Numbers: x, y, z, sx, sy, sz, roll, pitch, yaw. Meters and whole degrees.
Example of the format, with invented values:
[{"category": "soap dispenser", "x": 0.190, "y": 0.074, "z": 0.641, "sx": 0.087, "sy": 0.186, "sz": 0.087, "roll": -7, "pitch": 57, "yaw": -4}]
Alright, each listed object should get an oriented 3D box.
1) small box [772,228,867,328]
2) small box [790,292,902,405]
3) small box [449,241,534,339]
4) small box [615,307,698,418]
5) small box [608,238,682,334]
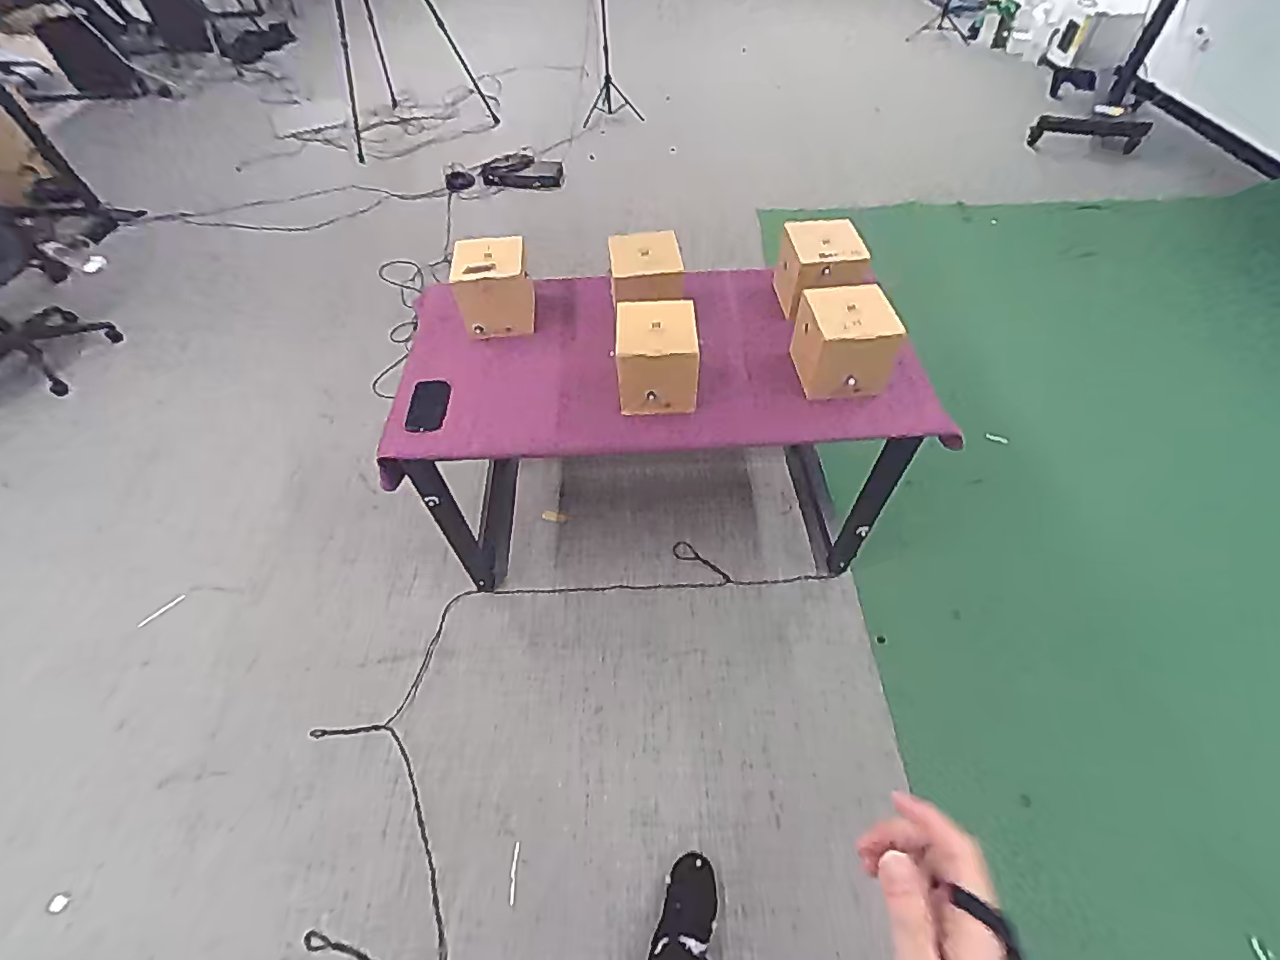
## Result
[{"category": "small box", "x": 0.439, "y": -0.503, "z": 1.352, "sx": 0.168, "sy": 0.176, "sz": 0.179, "roll": -4, "pitch": 52, "yaw": -1}, {"category": "small box", "x": 0.437, "y": -0.286, "z": 1.184, "sx": 0.168, "sy": 0.176, "sz": 0.179, "roll": -4, "pitch": 52, "yaw": 0}, {"category": "small box", "x": -0.360, "y": -0.465, "z": 1.344, "sx": 0.168, "sy": 0.176, "sz": 0.179, "roll": -5, "pitch": 52, "yaw": -3}, {"category": "small box", "x": 0.033, "y": -0.254, "z": 1.174, "sx": 0.168, "sy": 0.176, "sz": 0.179, "roll": -1, "pitch": 52, "yaw": 0}, {"category": "small box", "x": 0.010, "y": -0.474, "z": 1.344, "sx": 0.168, "sy": 0.176, "sz": 0.179, "roll": -5, "pitch": 54, "yaw": -2}]
